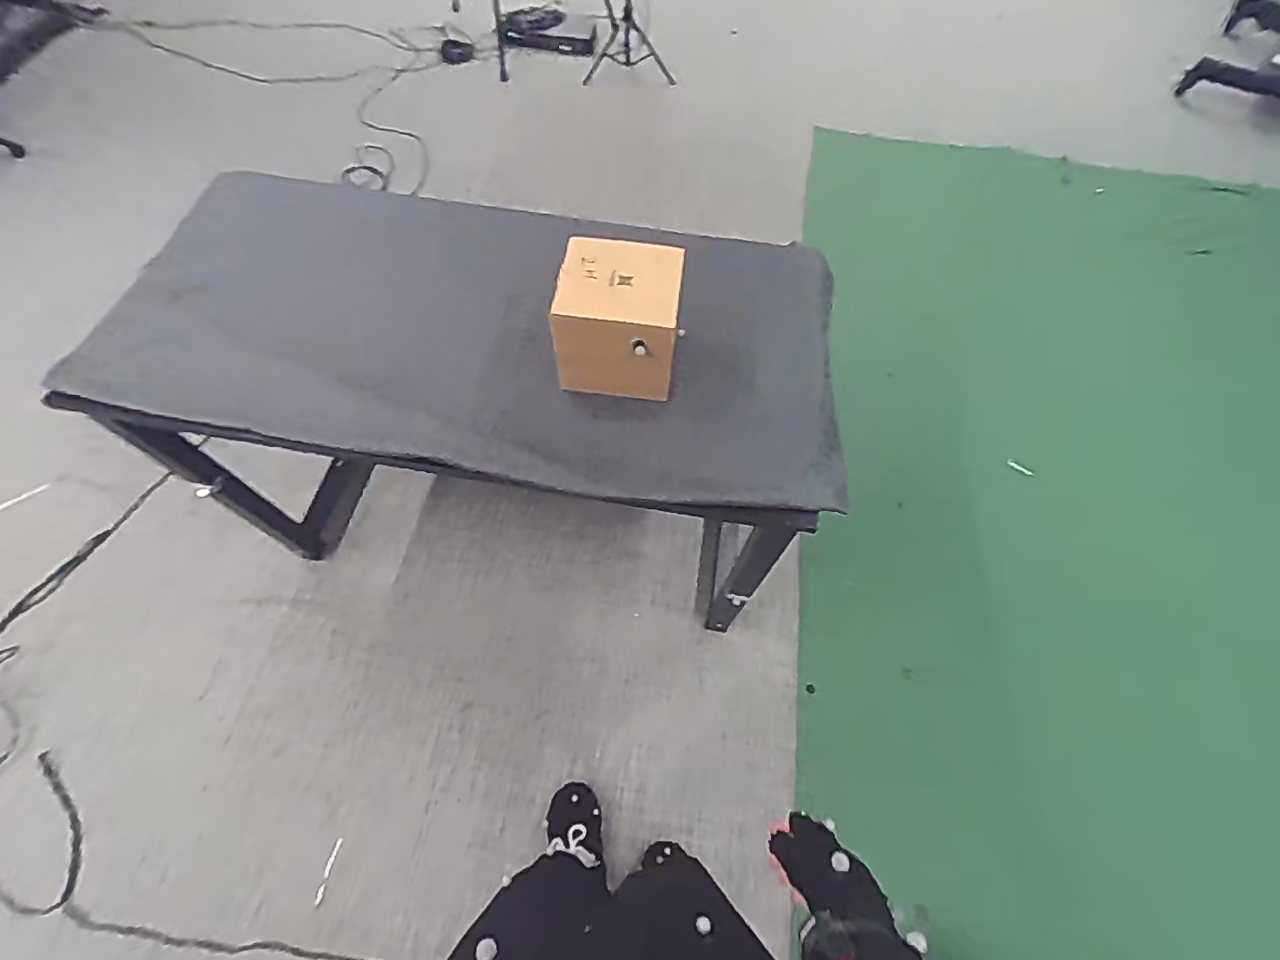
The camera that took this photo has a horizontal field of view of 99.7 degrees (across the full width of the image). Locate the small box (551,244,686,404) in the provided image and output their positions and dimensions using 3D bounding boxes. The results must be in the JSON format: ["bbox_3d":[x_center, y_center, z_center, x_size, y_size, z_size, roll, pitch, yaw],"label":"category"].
[{"bbox_3d":[-0.030,-0.238,0.849,0.179,0.176,0.168,7,60,2],"label":"small box"}]
